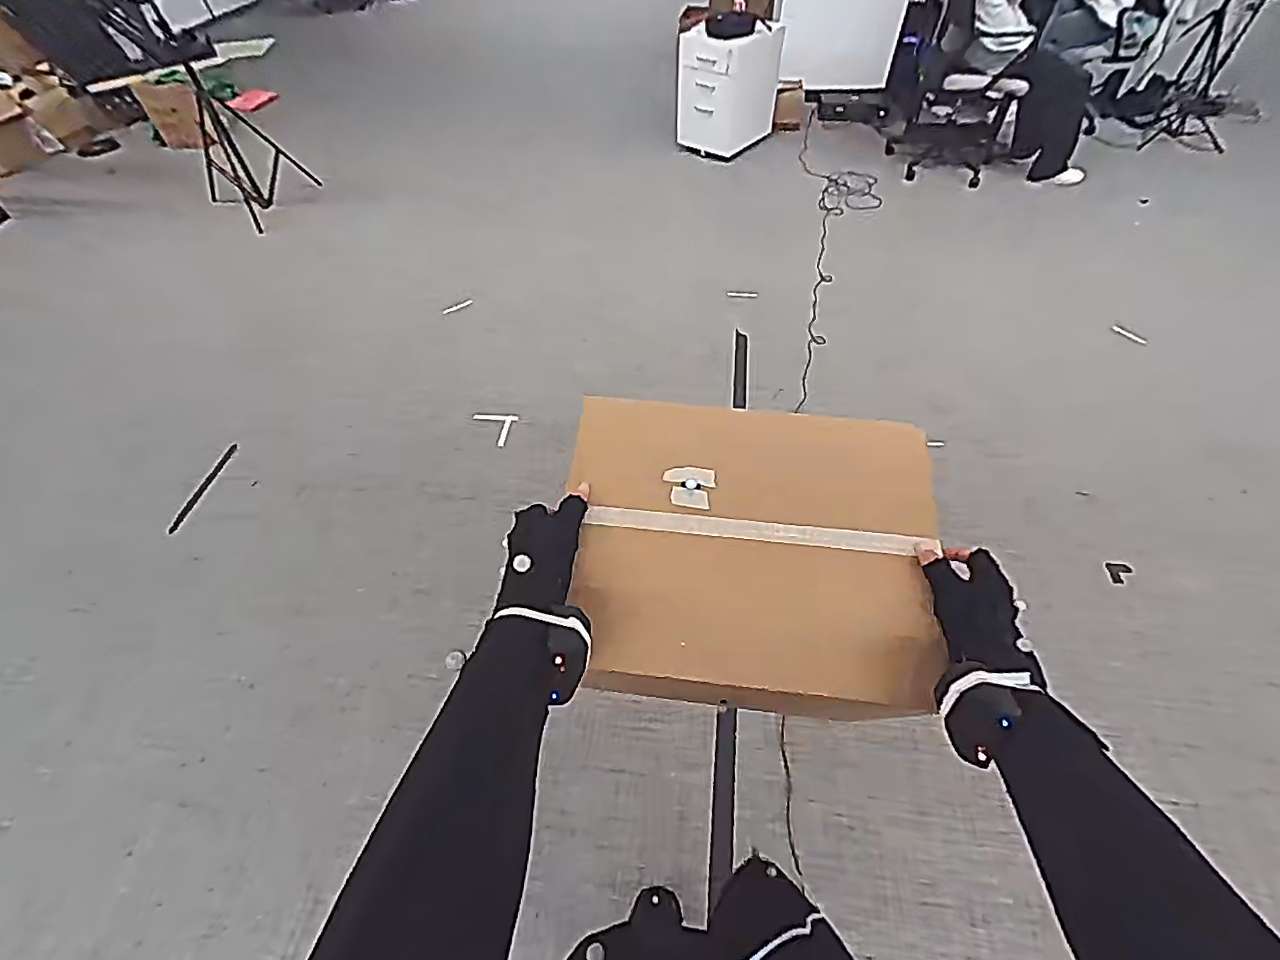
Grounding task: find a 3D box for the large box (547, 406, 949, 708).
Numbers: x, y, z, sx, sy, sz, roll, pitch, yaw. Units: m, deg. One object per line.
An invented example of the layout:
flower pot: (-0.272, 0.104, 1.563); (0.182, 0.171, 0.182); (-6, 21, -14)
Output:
large box: (0.124, 0.122, 0.731); (0.408, 0.320, 0.320); (5, 64, 5)
